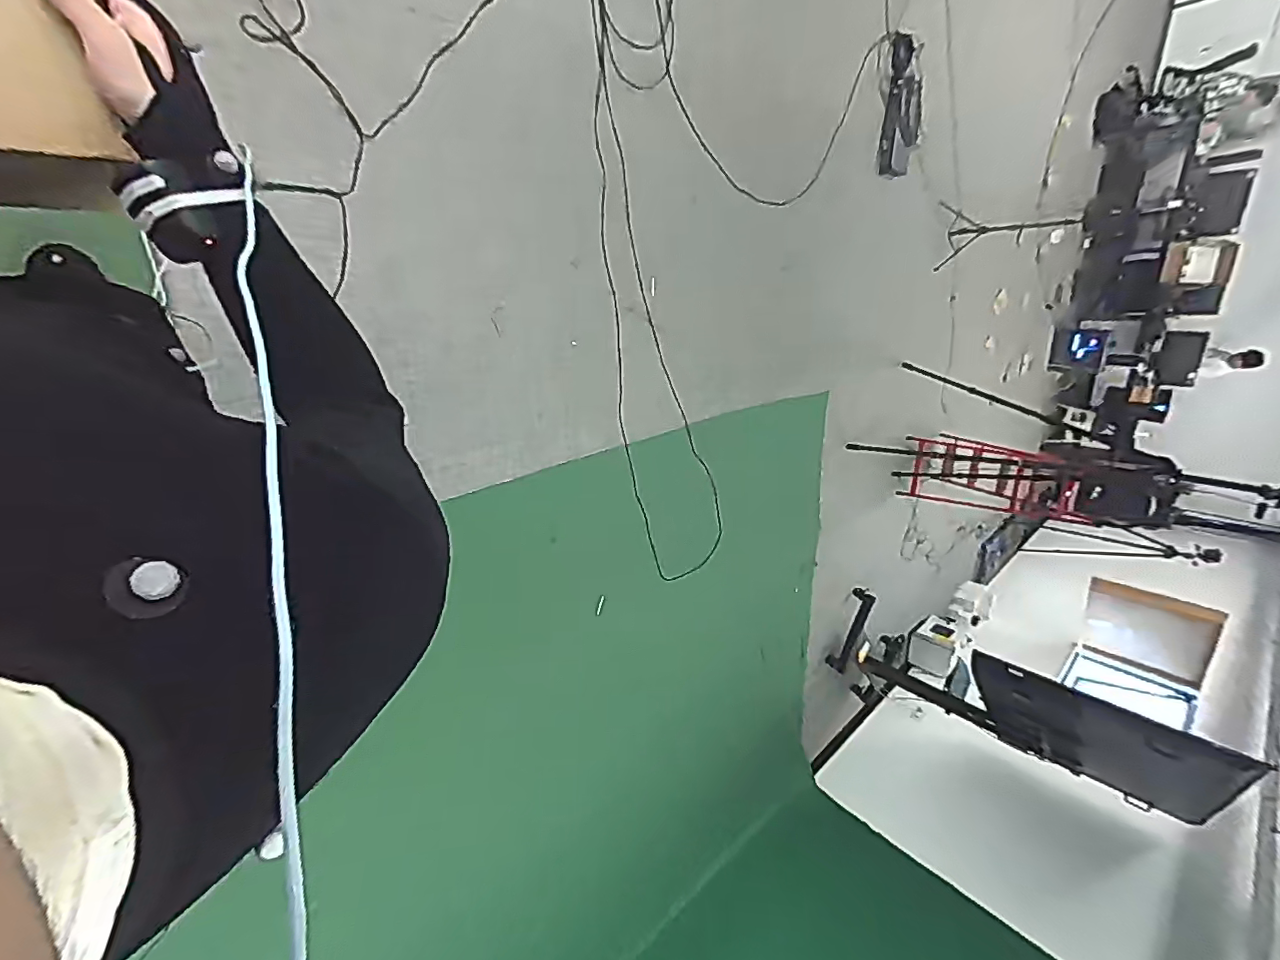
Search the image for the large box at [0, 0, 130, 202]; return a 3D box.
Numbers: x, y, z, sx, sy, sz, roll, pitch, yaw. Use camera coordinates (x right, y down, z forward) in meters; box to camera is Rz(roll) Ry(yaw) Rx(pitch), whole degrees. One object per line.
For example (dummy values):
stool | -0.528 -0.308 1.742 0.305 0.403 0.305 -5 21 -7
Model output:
large box | -0.651 -0.379 0.348 0.408 0.320 0.320 -20 117 -40
